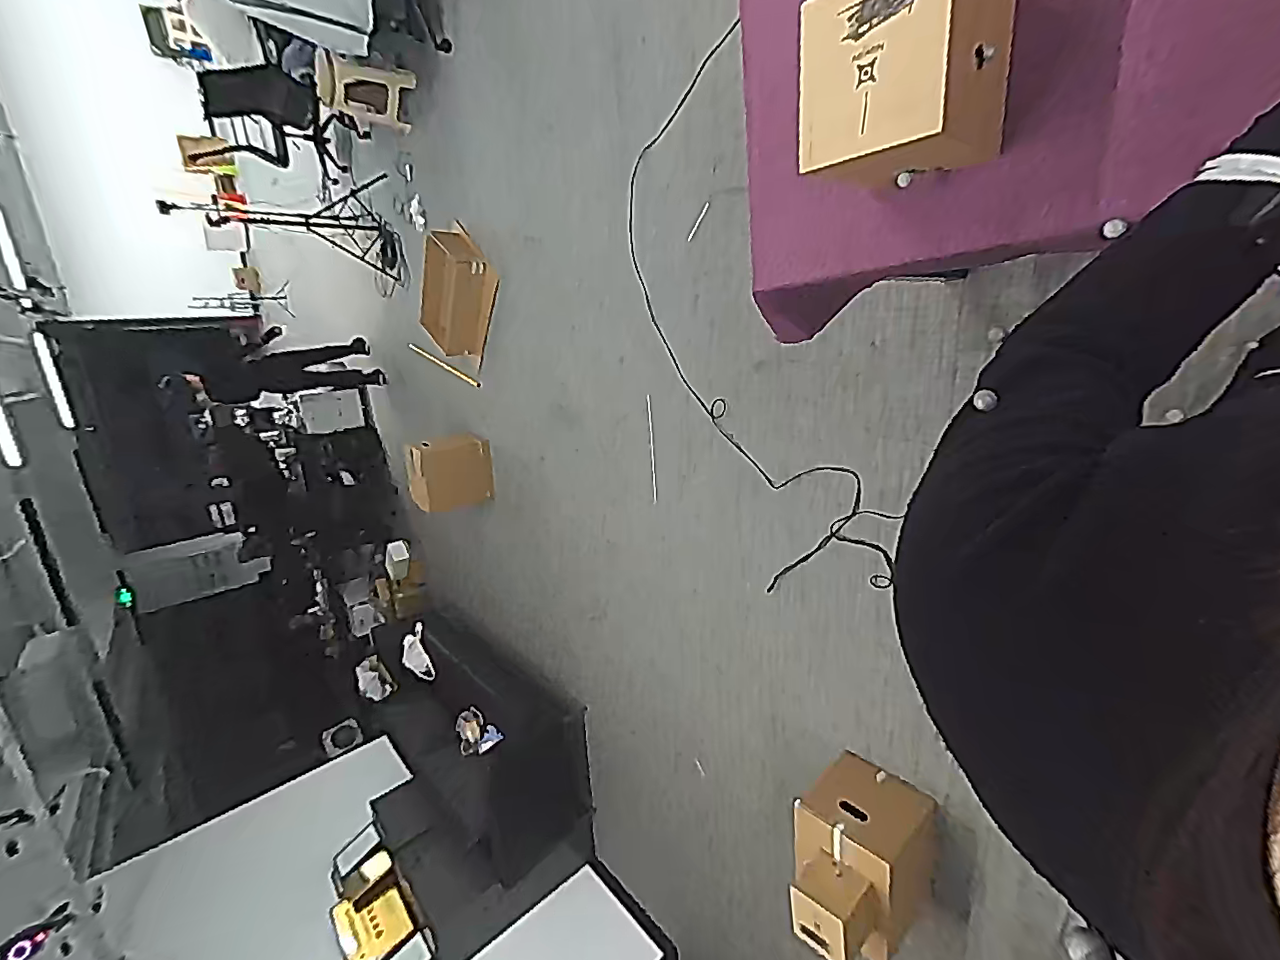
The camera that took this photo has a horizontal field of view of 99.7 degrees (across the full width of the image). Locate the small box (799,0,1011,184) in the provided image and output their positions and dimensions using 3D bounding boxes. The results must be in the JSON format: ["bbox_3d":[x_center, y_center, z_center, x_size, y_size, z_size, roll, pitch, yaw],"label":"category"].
[{"bbox_3d":[0.302,-0.461,0.620,0.168,0.176,0.179,14,114,47],"label":"small box"}]
